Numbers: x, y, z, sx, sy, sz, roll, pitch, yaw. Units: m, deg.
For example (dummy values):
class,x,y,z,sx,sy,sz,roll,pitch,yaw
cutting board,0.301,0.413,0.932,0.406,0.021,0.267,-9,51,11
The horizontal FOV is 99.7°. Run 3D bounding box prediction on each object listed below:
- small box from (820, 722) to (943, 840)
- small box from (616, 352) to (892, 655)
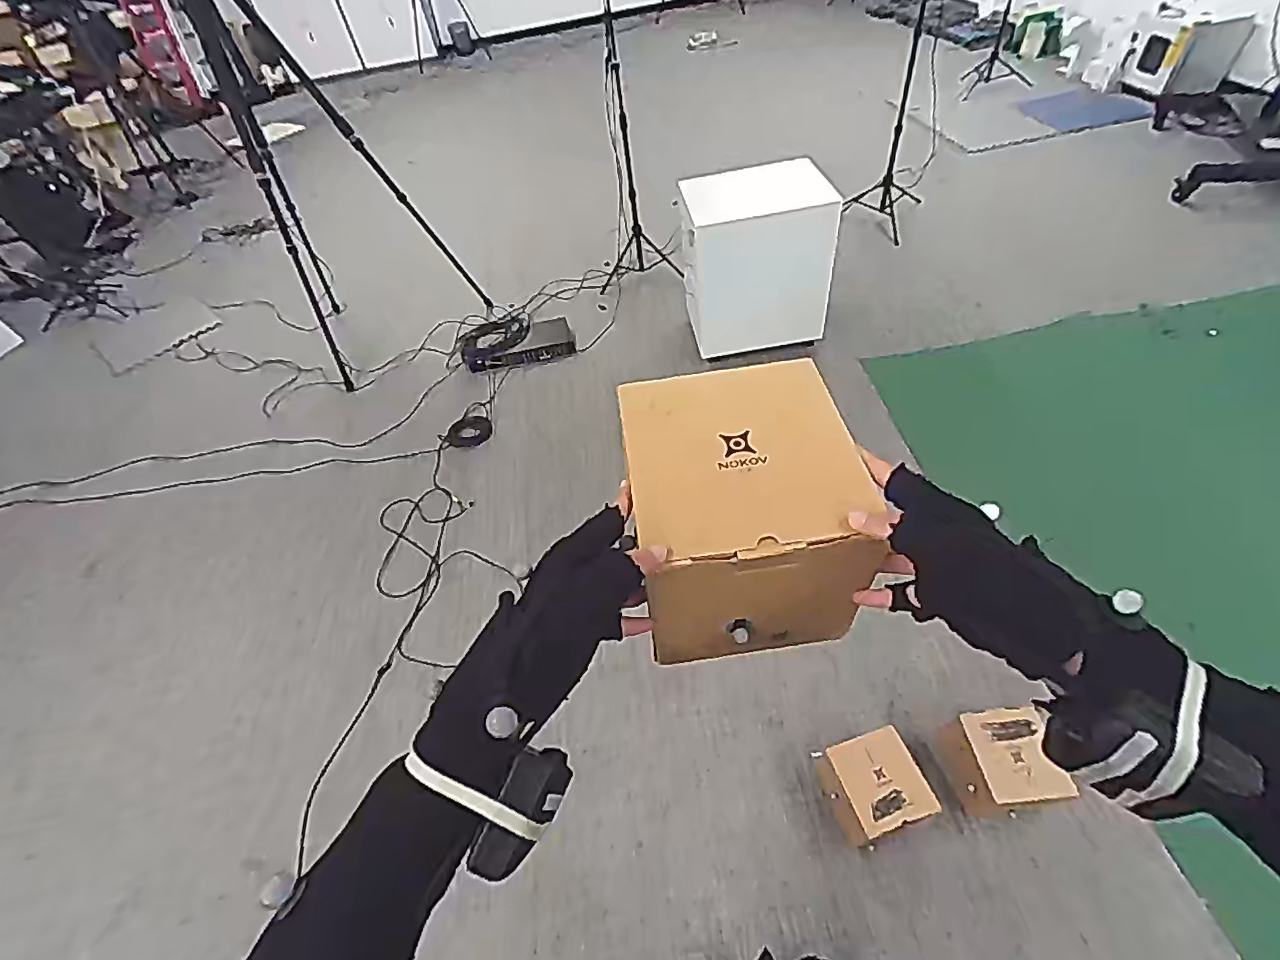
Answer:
class,x,y,z,sx,sy,sz,roll,pitch,yaw
small box,0.515,0.662,1.179,0.168,0.176,0.179,-17,49,-5
small box,0.077,0.022,0.455,0.168,0.176,0.179,-10,50,0
